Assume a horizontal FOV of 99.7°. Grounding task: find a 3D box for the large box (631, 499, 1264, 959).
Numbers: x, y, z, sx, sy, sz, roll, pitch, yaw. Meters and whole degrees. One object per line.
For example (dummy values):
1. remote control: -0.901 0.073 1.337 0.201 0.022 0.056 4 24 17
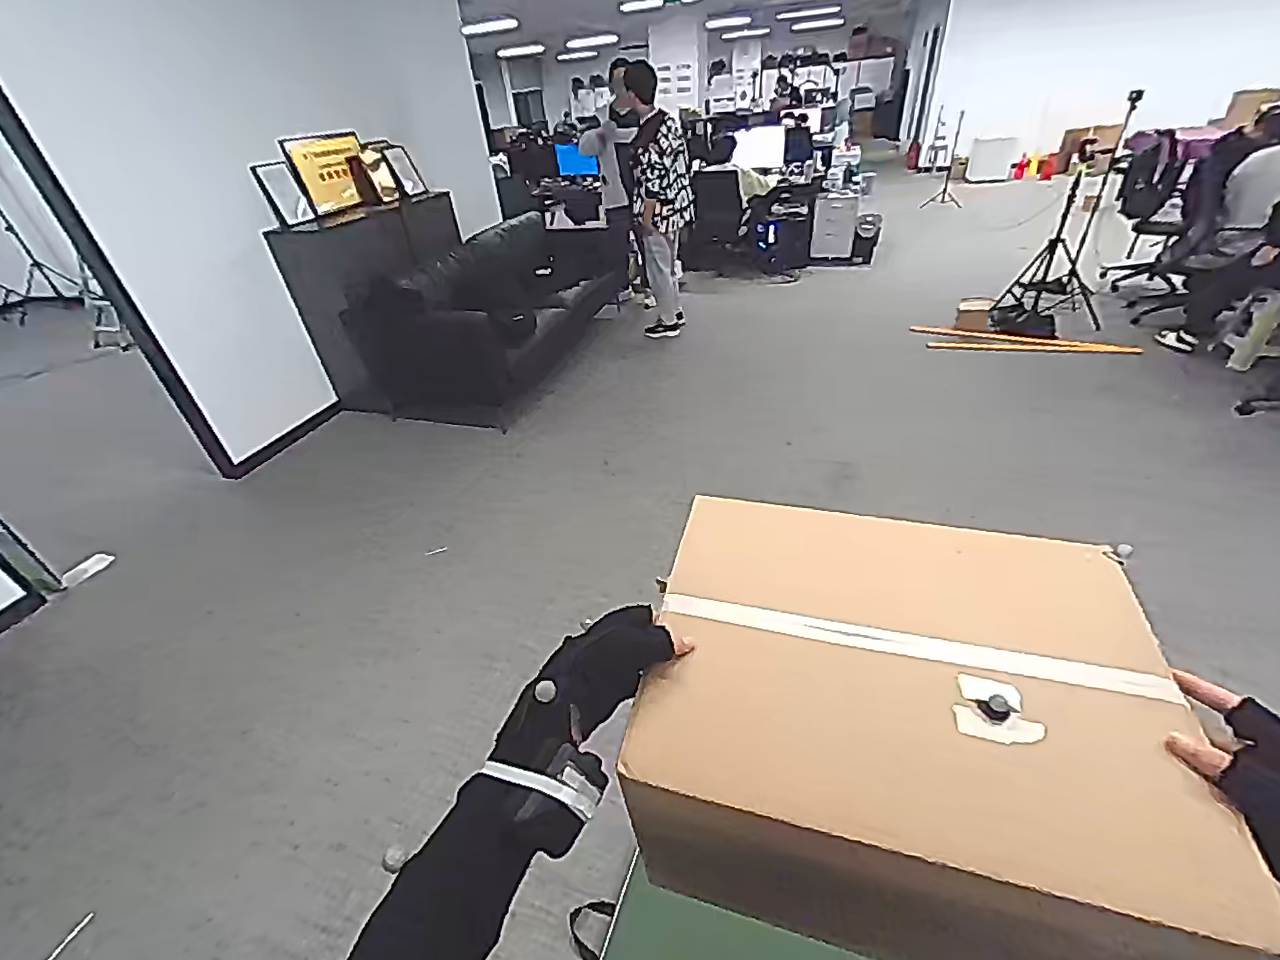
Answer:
1. large box: 0.229 0.252 0.570 0.408 0.320 0.320 7 43 14
